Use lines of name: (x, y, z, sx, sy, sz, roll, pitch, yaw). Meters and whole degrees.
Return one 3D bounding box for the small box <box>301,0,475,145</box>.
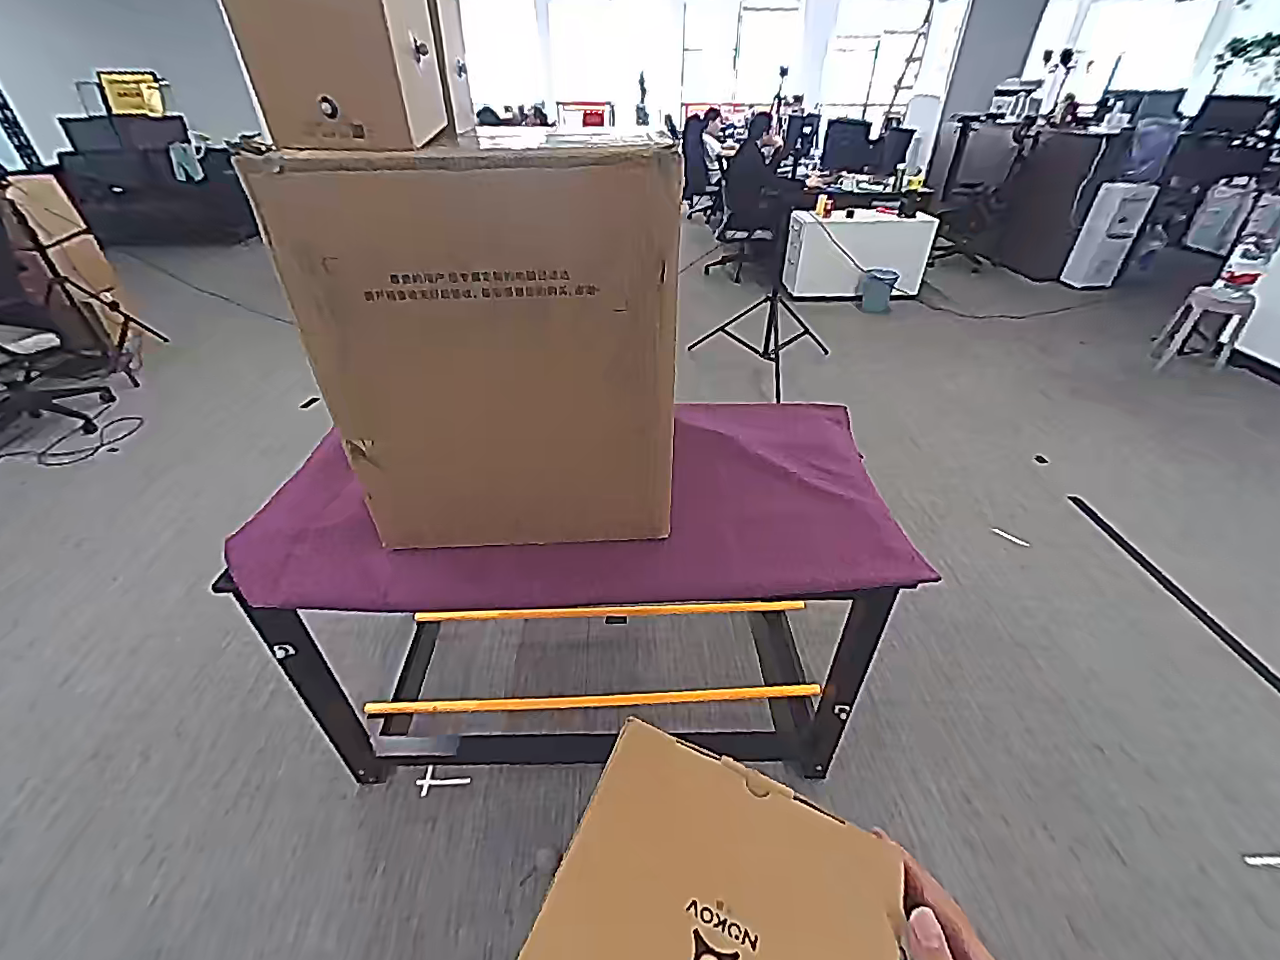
small box: (-0.354, -0.603, 0.800, 0.179, 0.176, 0.168, -2, 36, -3)
